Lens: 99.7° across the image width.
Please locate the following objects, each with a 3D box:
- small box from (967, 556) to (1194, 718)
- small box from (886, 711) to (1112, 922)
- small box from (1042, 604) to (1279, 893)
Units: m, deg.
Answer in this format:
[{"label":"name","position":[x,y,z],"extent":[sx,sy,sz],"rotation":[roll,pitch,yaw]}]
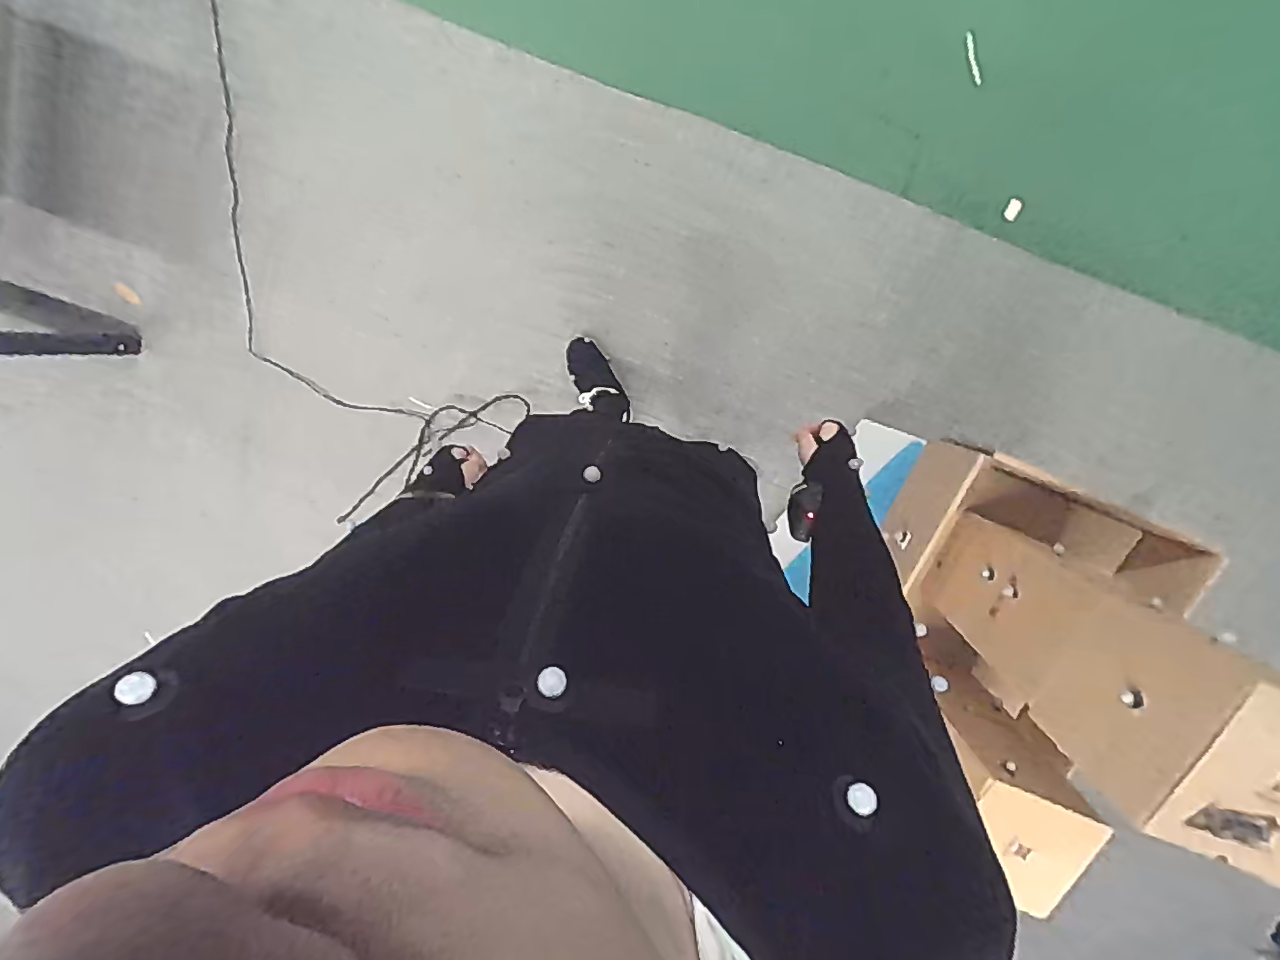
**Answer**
[{"label":"small box","position":[0.589,0.223,0.716],"extent":[0.179,0.176,0.168],"rotation":[23,104,-1]},{"label":"small box","position":[0.496,0.469,0.778],"extent":[0.179,0.176,0.168],"rotation":[23,103,-1]},{"label":"small box","position":[0.570,0.262,0.558],"extent":[0.168,0.176,0.179],"rotation":[22,103,-2]}]
